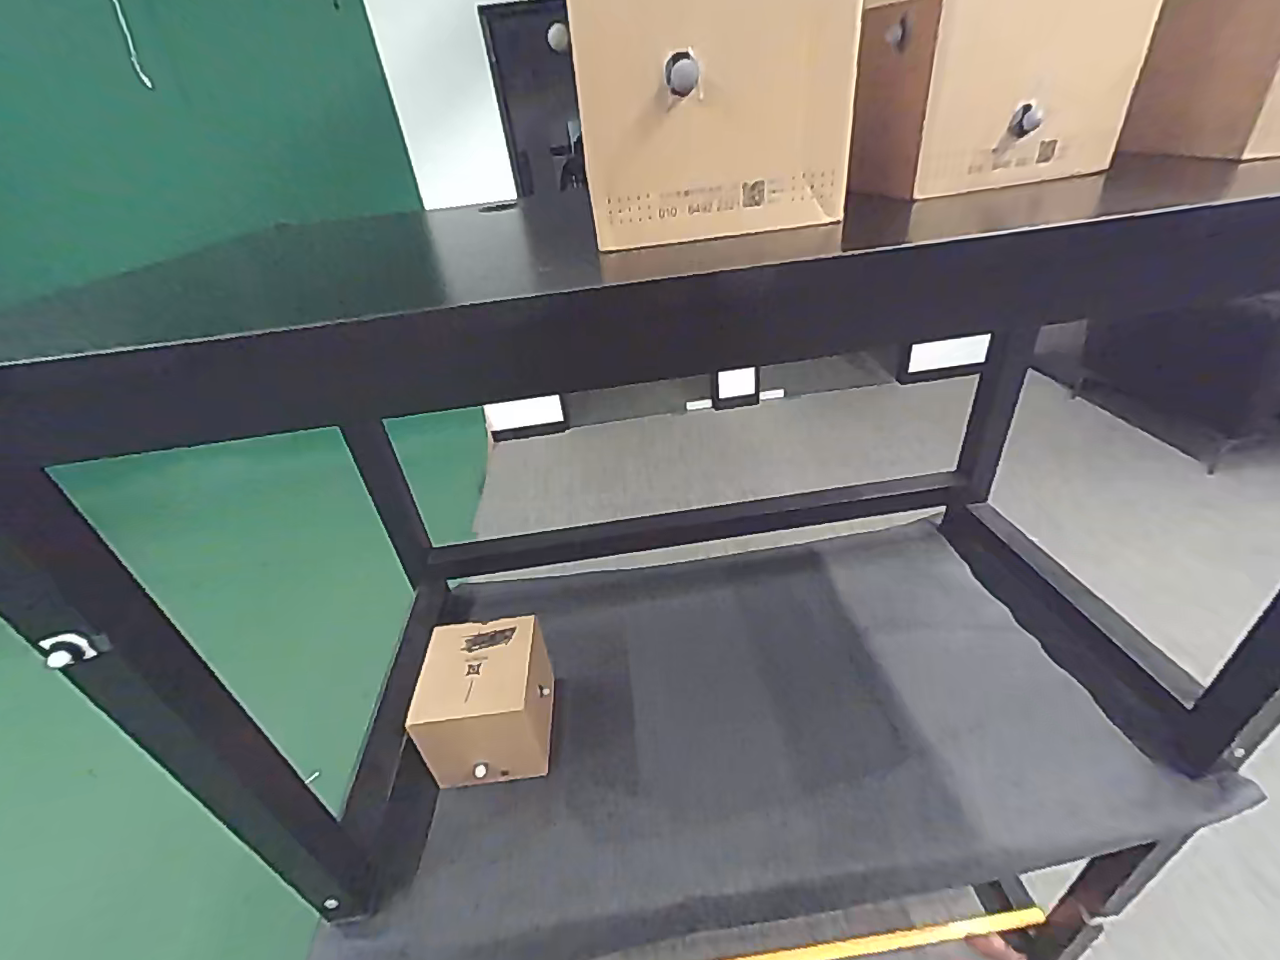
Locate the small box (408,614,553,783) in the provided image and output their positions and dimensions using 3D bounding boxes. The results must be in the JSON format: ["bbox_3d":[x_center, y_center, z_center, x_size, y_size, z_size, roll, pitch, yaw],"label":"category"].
[{"bbox_3d":[-0.235,0.339,0.849,0.168,0.176,0.179,-7,33,-1],"label":"small box"}]
